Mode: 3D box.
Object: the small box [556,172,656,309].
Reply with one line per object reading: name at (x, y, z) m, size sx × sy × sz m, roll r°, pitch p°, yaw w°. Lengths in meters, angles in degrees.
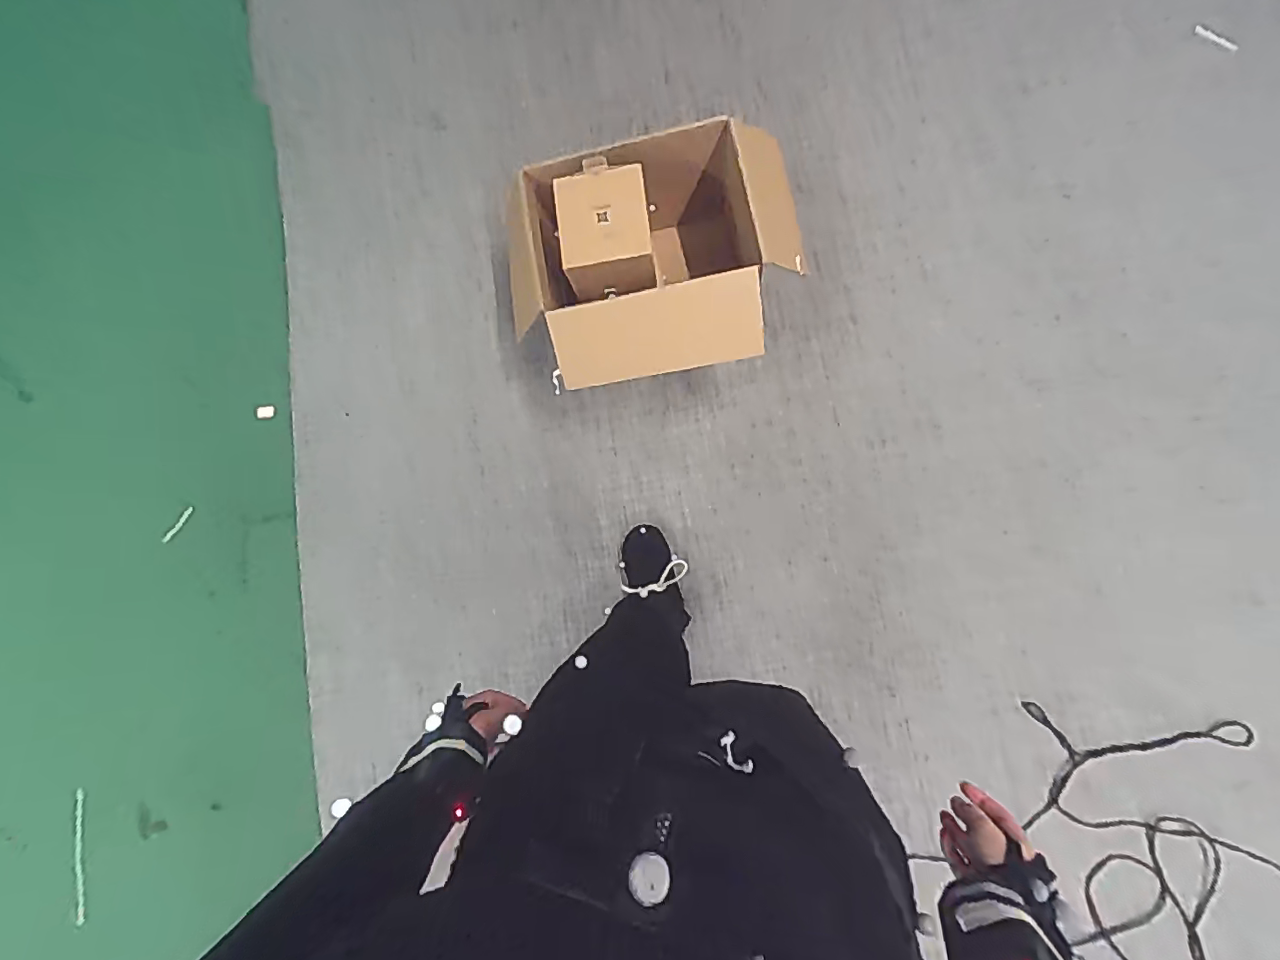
small box at (-0.060, -0.457, 1.053) m, size 0.168 × 0.176 × 0.179 m, roll -7°, pitch 84°, yaw 4°
